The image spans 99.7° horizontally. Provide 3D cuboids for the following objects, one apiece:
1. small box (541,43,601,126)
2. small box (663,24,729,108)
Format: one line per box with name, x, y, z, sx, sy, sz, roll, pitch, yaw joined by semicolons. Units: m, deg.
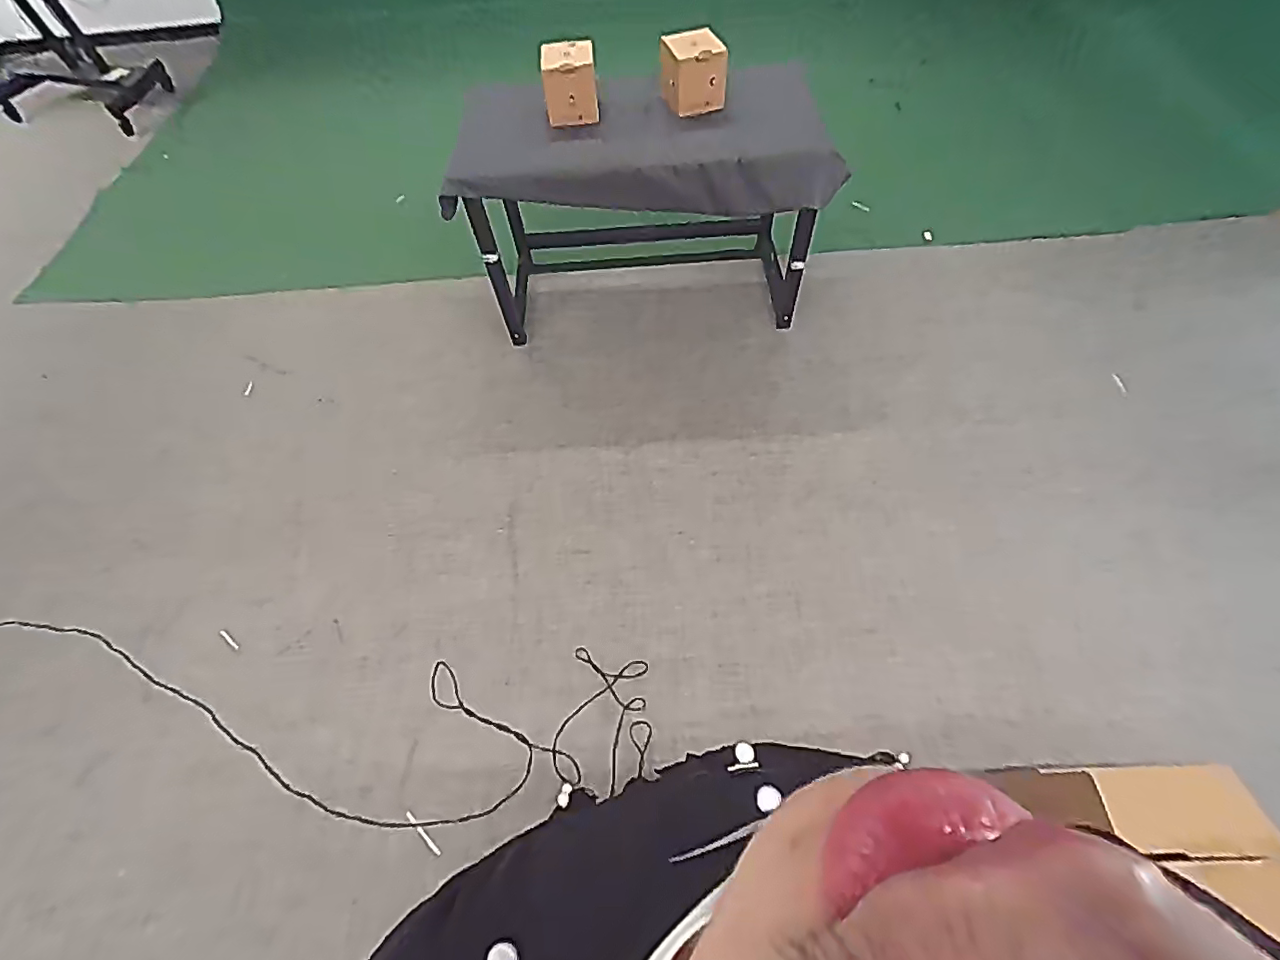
small box;-0.224;-1.295;1.781;0.168;0.176;0.179;-8;59;0
small box;0.177;-1.340;1.762;0.168;0.176;0.179;-14;59;-8
